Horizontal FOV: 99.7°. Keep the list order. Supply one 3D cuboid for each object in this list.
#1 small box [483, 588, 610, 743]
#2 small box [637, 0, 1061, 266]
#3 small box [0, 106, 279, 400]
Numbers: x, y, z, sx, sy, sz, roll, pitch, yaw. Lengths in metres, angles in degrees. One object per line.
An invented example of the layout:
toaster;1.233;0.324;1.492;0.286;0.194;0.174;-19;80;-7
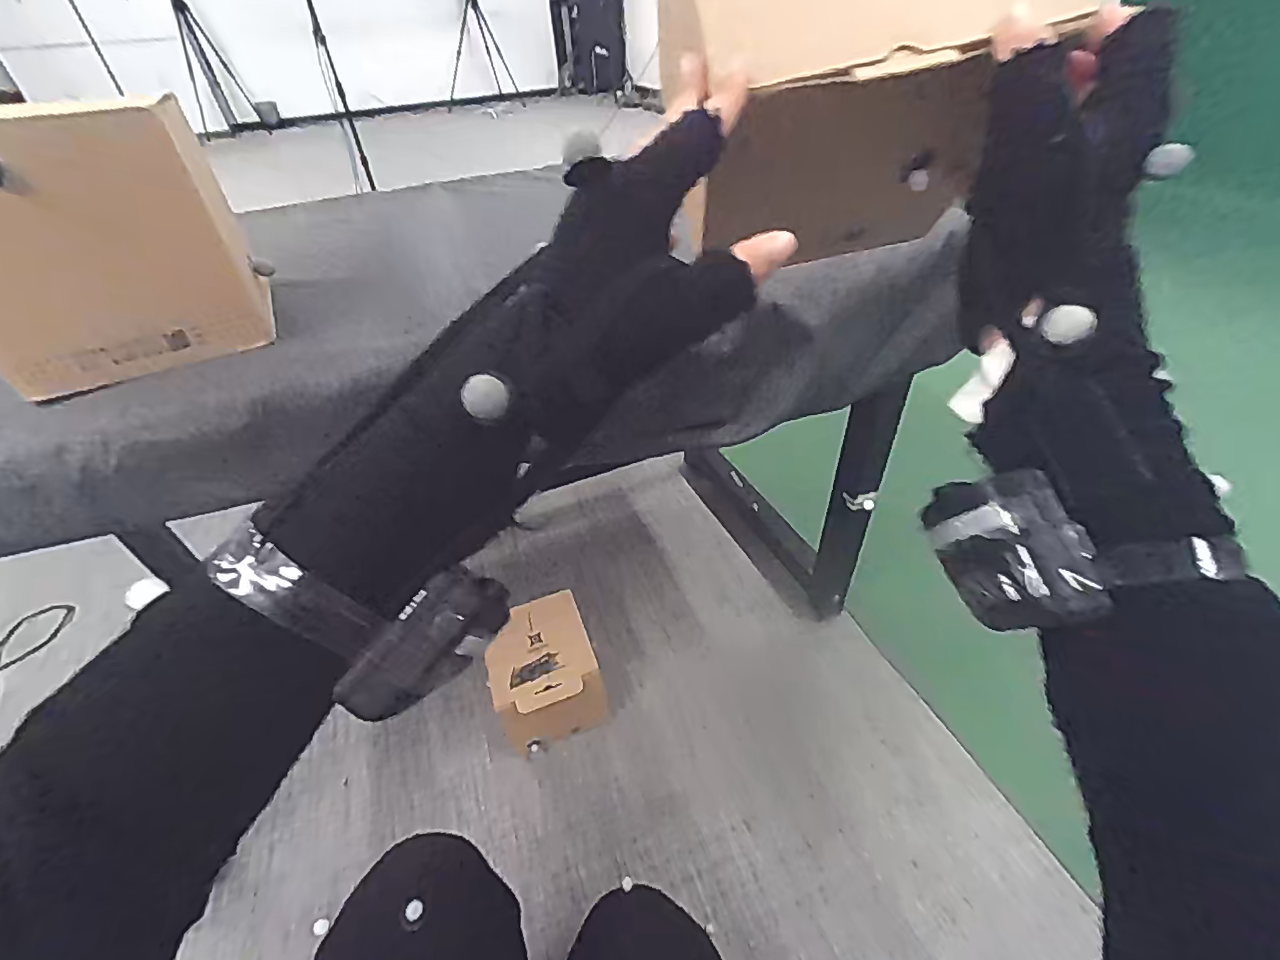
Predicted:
small box;-0.158;0.324;0.932;0.168;0.176;0.179;-17;41;-13
small box;0.091;-0.251;0.325;0.168;0.176;0.179;-11;81;2
small box;-0.418;-0.187;0.433;0.168;0.176;0.179;-23;42;-20
